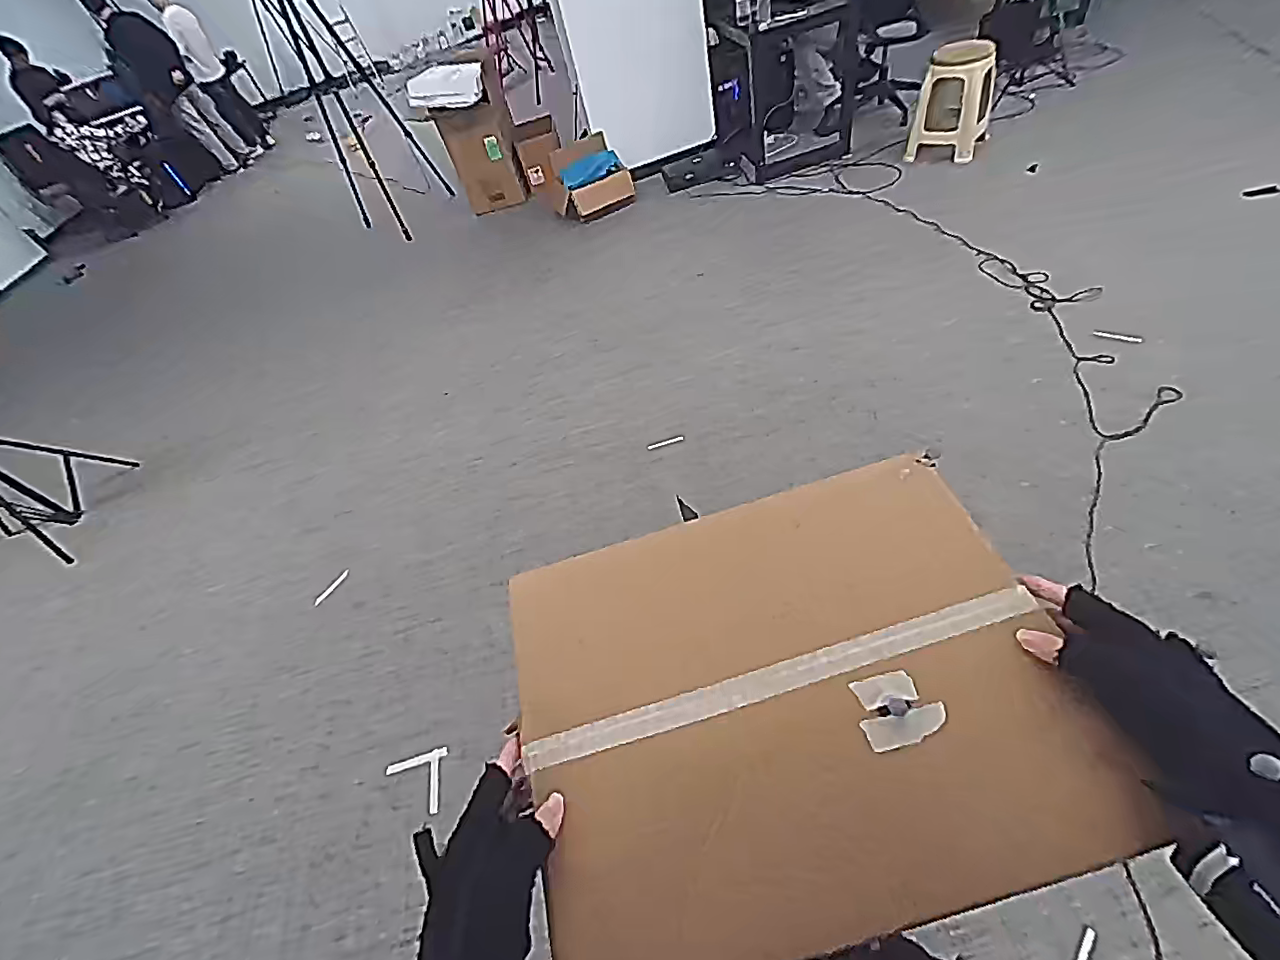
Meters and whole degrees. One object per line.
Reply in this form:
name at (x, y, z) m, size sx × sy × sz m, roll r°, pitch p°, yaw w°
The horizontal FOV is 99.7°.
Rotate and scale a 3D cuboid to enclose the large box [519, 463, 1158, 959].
large box at (0.134, 0.244, 0.550) m, size 0.408 × 0.320 × 0.320 m, roll -18°, pitch 54°, yaw -1°
